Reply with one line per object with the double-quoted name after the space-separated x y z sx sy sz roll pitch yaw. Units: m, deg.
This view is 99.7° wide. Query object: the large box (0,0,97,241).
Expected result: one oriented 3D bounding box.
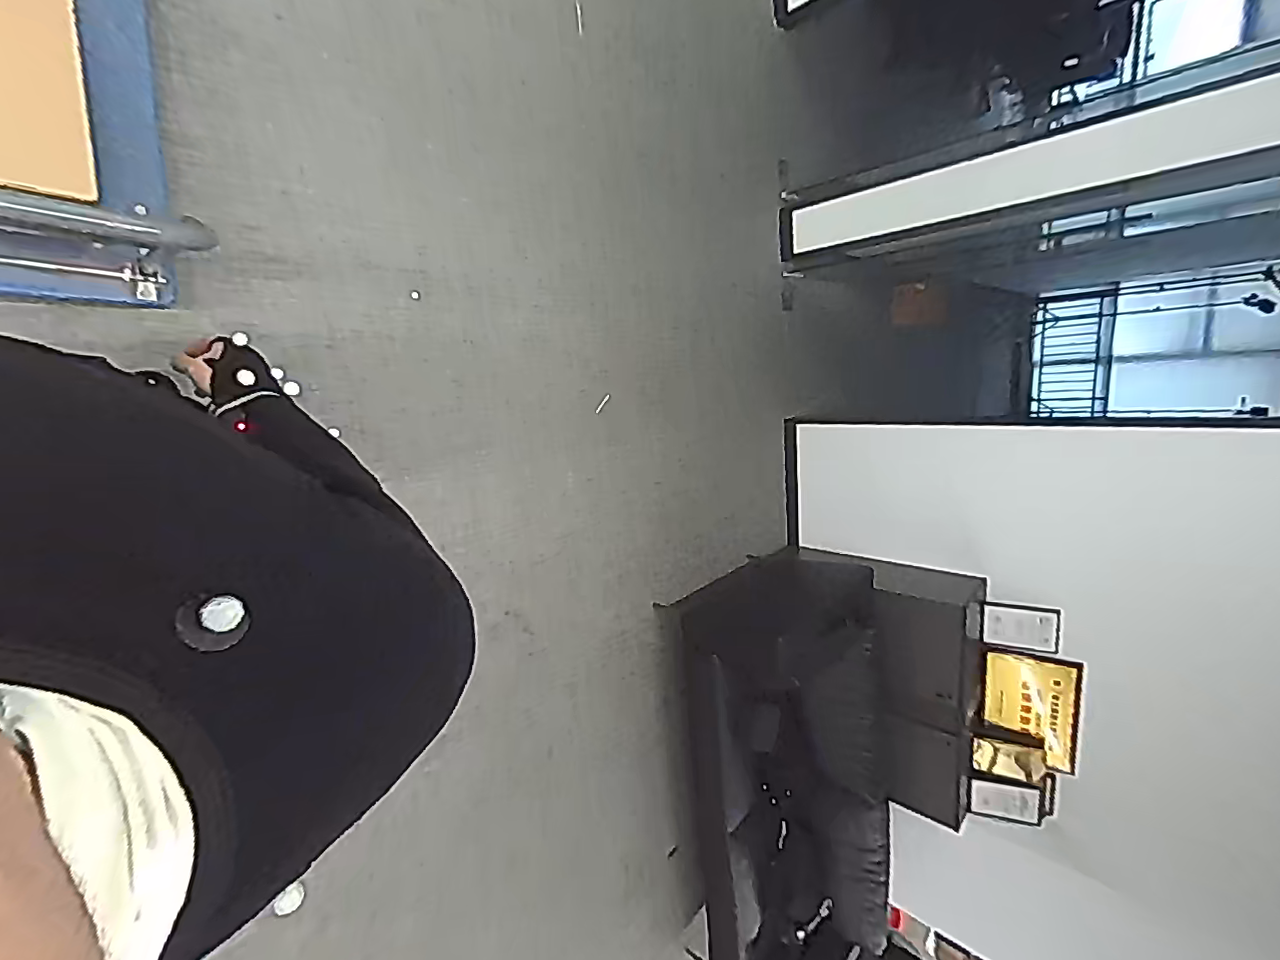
-1.056 -0.621 0.801 0.320 0.320 0.408 -9 100 -46 "large box"
